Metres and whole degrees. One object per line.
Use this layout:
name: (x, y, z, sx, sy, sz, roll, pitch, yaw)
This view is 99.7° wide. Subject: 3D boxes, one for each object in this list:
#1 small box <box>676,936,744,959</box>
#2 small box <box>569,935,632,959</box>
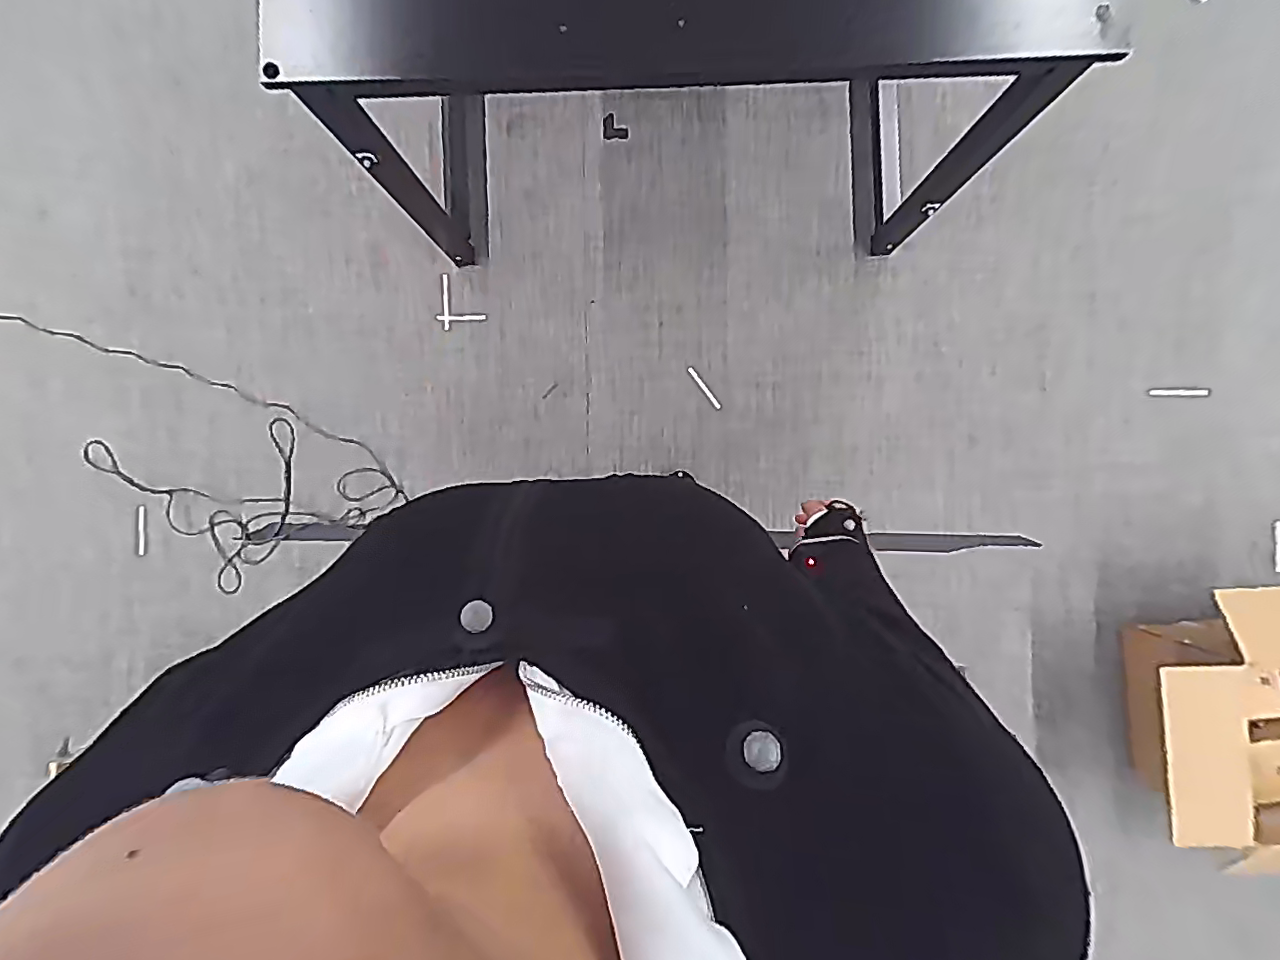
small box: (0.181, 1.310, 1.374, 0.179, 0.176, 0.168, 2, 89, 3)
small box: (-0.109, 1.316, 1.381, 0.168, 0.176, 0.179, 4, 89, 0)
